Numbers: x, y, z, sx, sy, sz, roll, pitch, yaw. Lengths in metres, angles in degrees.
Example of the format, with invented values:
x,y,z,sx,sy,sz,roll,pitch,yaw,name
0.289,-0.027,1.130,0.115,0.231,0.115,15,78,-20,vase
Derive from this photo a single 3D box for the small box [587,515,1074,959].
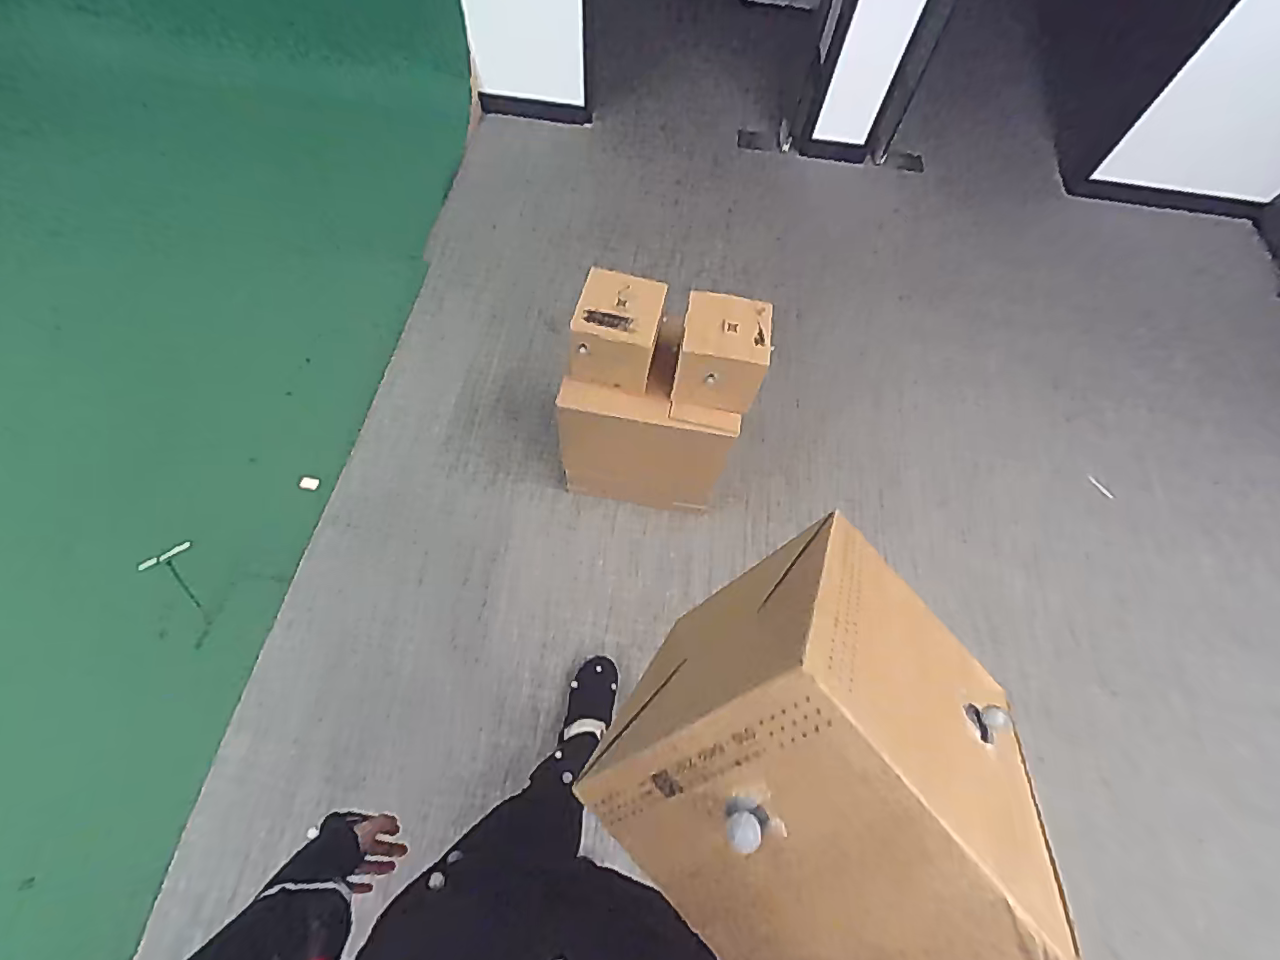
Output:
x,y,z,sx,sy,sz,roll,pitch,yaw,name
0.102,0.147,0.332,0.176,0.168,0.179,48,30,4,small box
